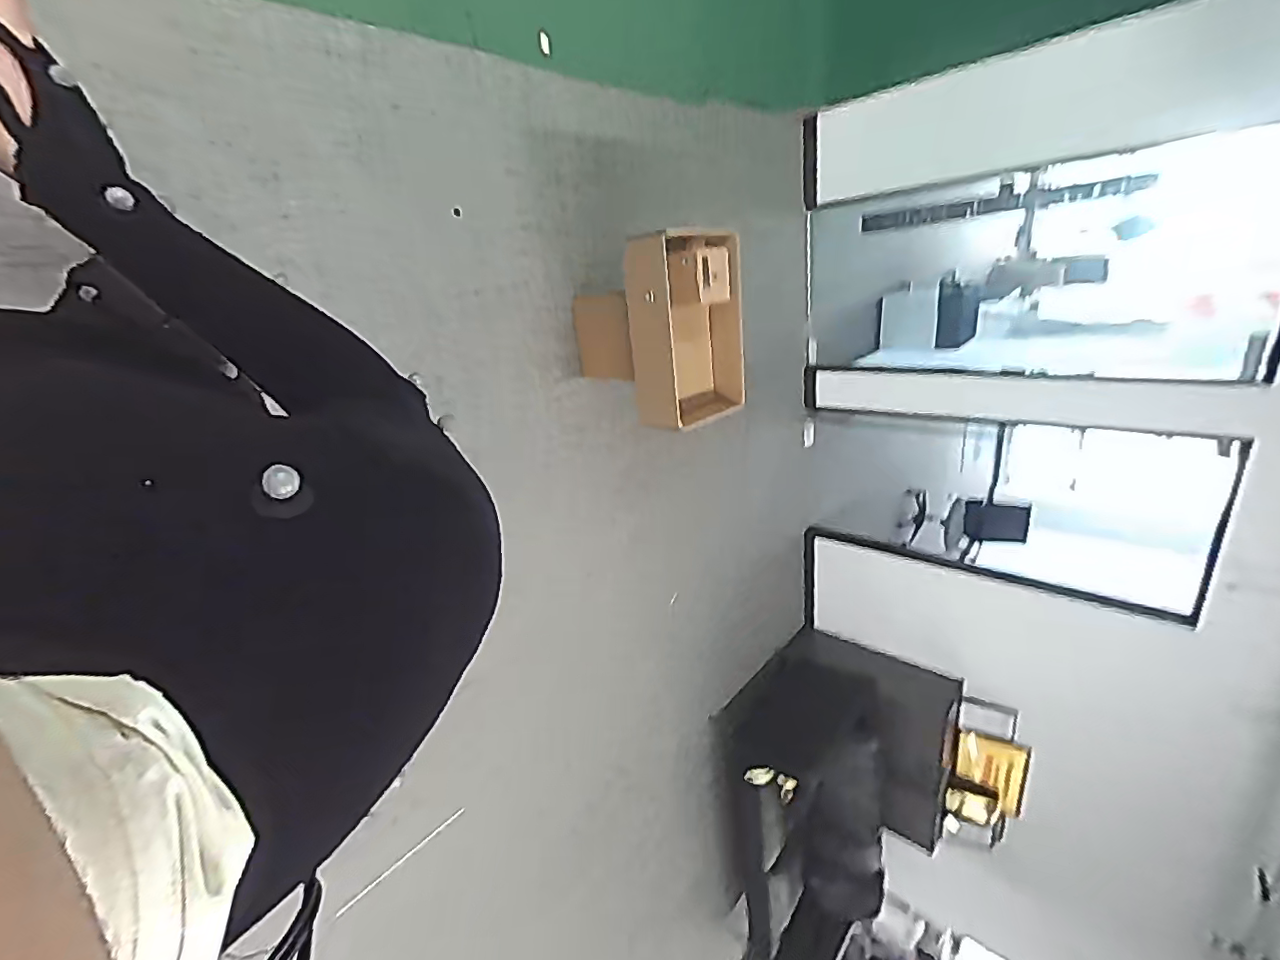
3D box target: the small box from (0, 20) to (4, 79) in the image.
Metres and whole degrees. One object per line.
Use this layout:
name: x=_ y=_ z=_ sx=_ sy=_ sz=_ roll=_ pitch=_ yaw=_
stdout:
small box: x=-0.531 y=-0.376 z=0.320 sx=0.168 sy=0.176 sz=0.179 roll=-20 pitch=117 yaw=-42
